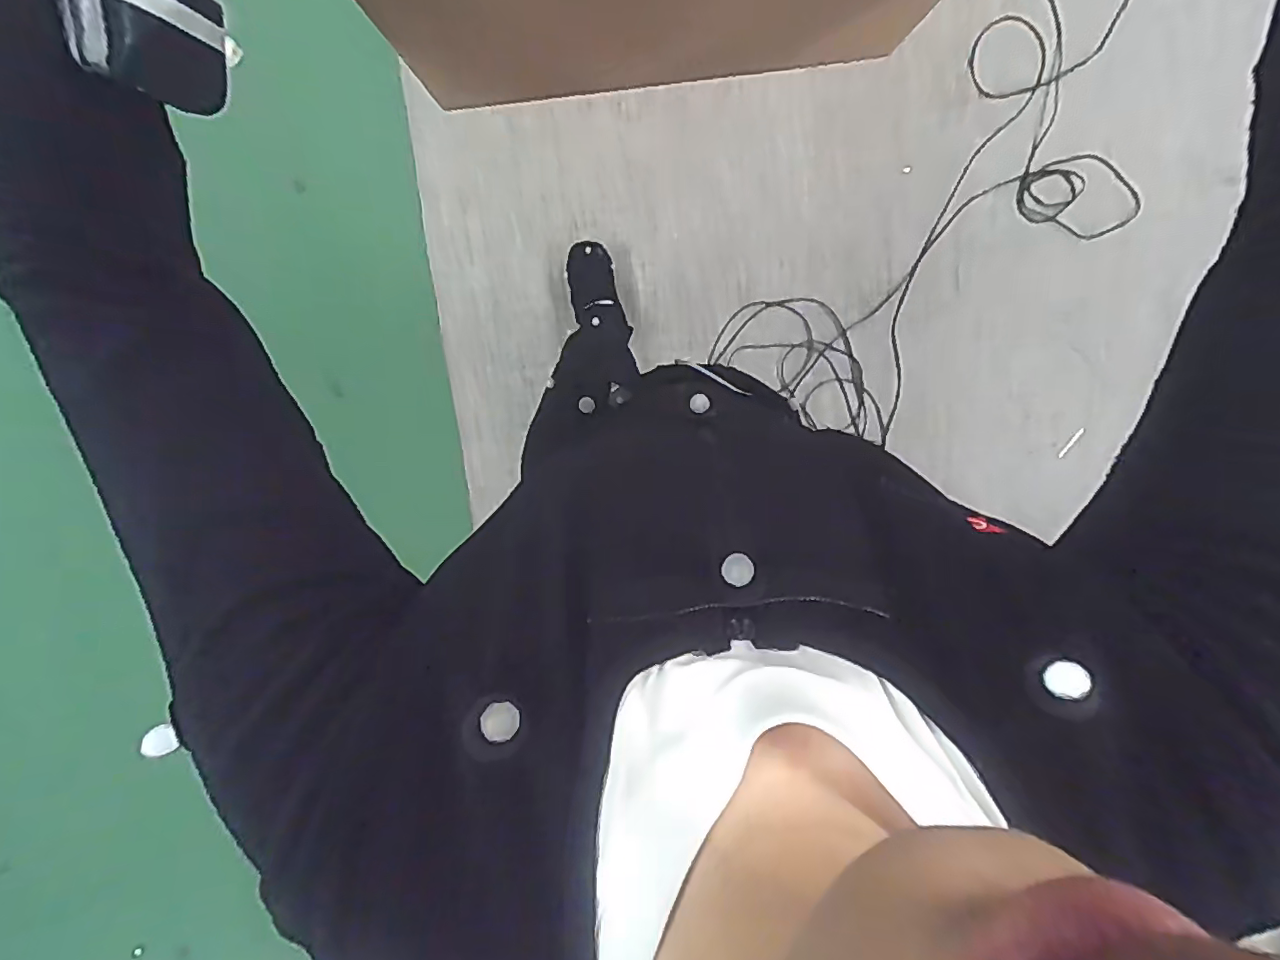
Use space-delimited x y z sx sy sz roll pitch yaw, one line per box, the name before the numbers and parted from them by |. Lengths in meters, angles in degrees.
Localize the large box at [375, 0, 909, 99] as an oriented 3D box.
large box | 0.004 -0.474 0.303 0.408 0.320 0.320 -7 105 -1
